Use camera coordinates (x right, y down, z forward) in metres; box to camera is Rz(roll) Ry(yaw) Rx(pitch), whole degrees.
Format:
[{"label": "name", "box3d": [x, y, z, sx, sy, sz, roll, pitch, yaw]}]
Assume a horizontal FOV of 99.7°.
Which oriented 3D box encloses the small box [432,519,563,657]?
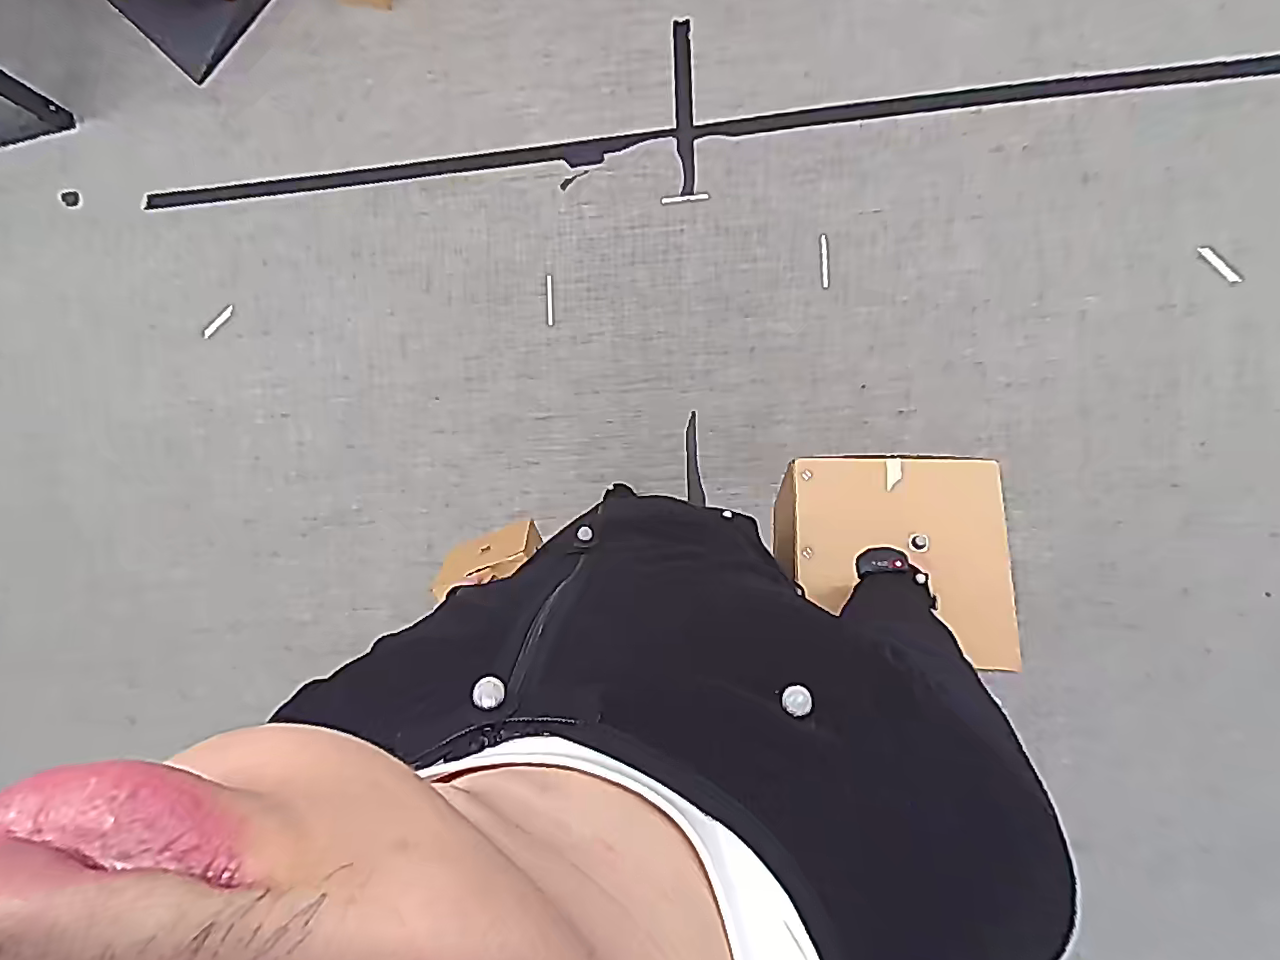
[{"label": "small box", "box3d": [-0.249, 0.201, 0.994, 0.168, 0.179, 0.176, -22, 107, 0]}]
